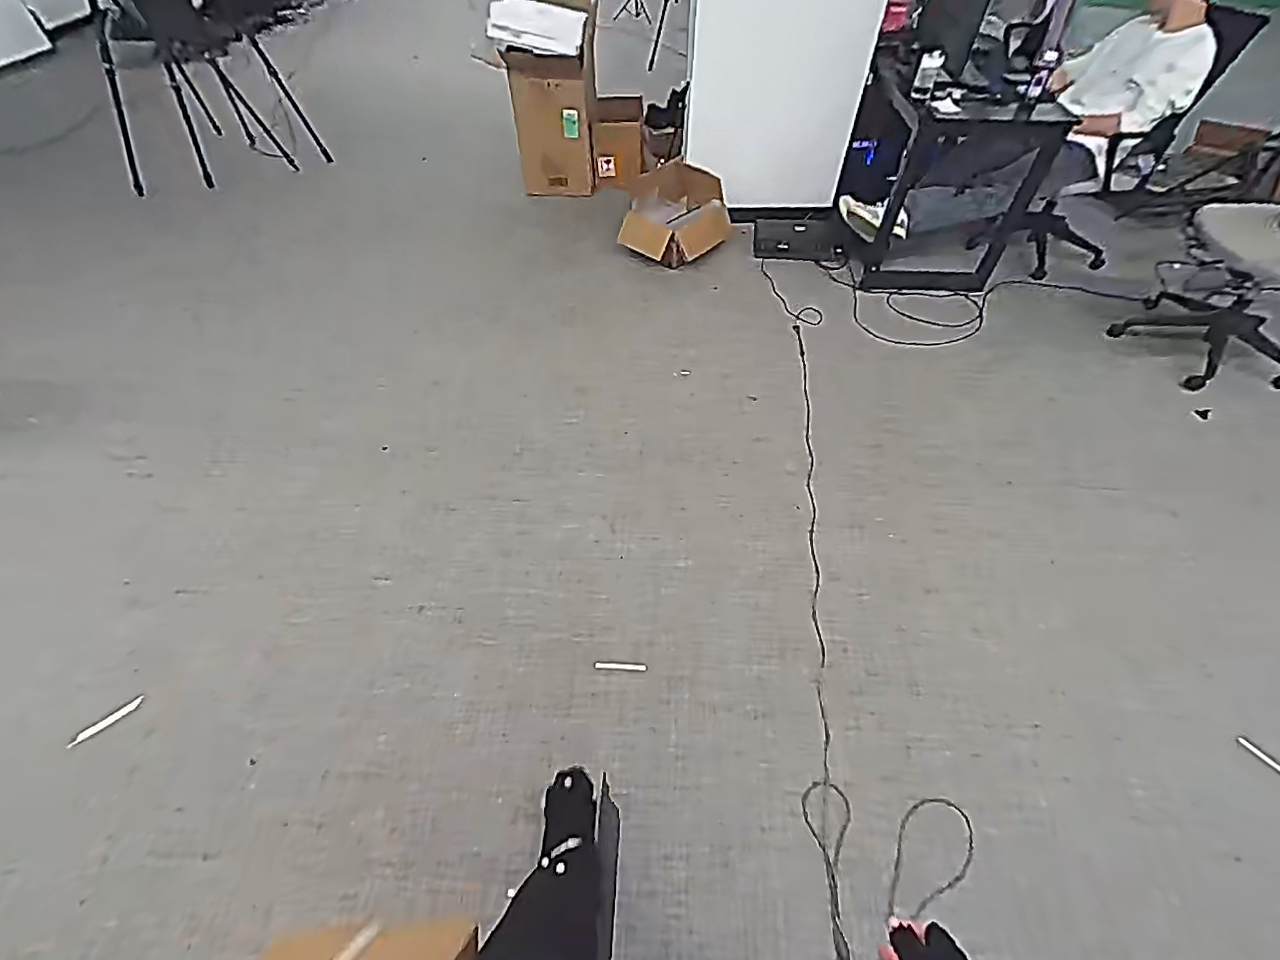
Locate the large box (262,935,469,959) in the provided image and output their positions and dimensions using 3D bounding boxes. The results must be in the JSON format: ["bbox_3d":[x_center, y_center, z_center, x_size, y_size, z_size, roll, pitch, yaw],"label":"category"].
[{"bbox_3d":[-0.410,0.809,0.608,0.320,0.408,0.320,-6,76,3],"label":"large box"}]
